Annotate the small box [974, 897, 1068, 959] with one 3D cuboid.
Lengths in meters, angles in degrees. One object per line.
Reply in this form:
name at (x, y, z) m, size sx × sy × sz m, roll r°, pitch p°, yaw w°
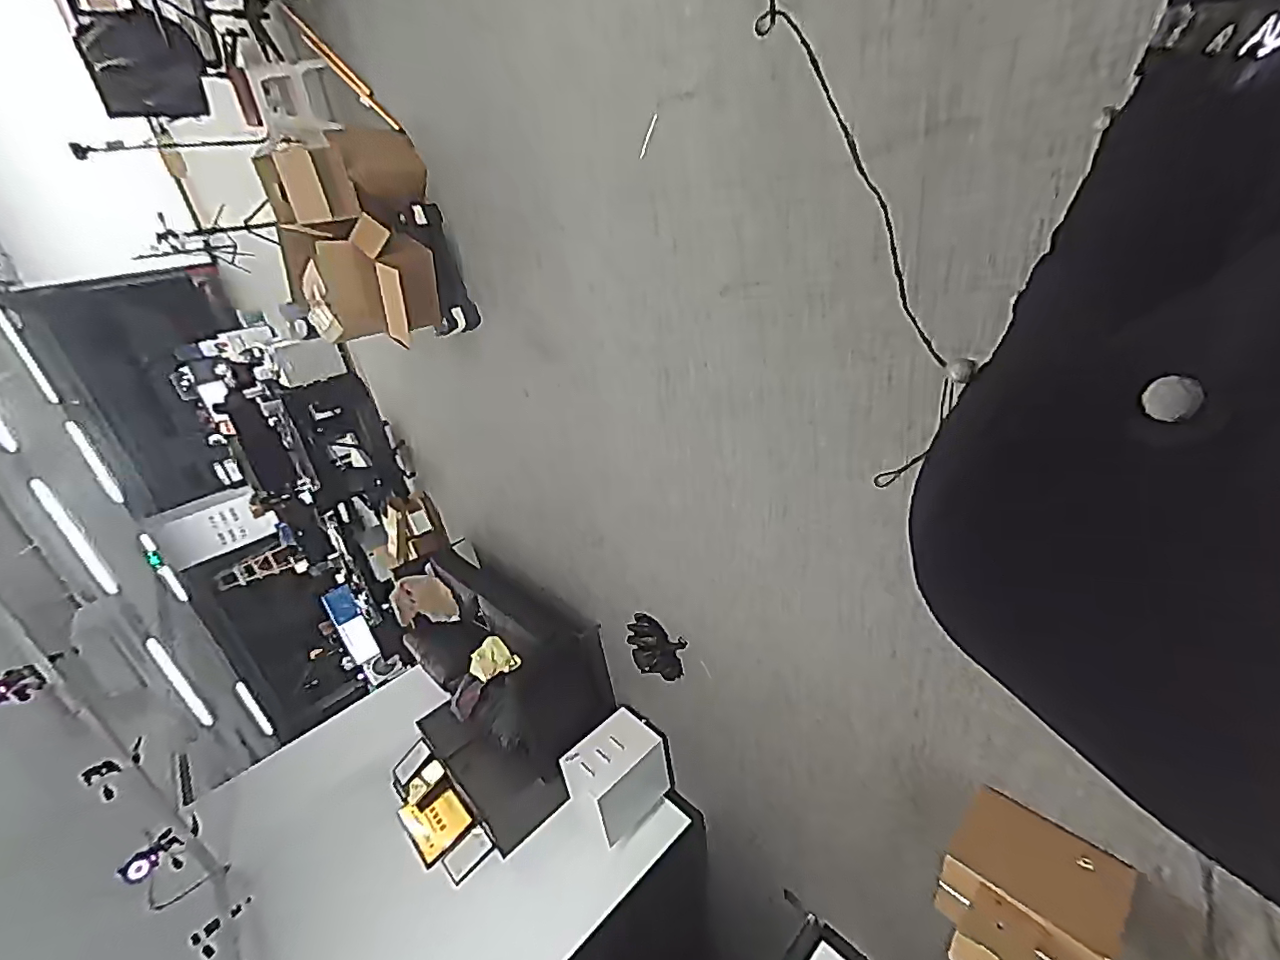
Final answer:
small box at (1.048, 1.318, 1.494) m, size 0.168 × 0.176 × 0.179 m, roll 23°, pitch 129°, yaw 44°
